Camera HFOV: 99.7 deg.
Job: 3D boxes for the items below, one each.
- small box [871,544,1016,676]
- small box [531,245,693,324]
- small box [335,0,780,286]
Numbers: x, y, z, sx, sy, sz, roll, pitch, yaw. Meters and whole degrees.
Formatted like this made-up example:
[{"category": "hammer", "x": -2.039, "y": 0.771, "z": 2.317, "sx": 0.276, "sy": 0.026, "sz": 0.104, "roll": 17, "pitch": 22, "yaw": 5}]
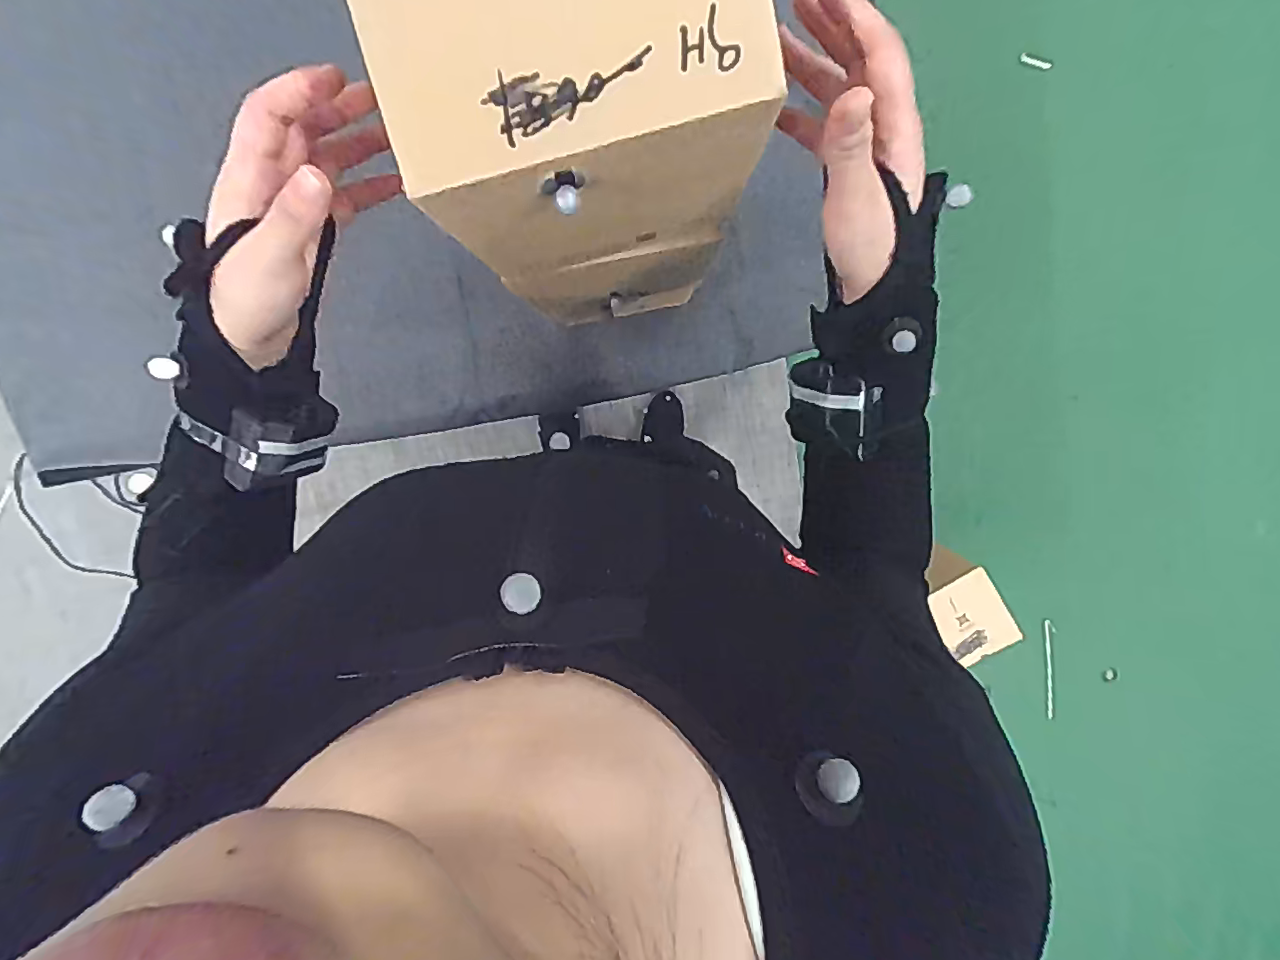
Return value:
[{"category": "small box", "x": 0.618, "y": 0.260, "z": 1.120, "sx": 0.168, "sy": 0.176, "sz": 0.179, "roll": -33, "pitch": 98, "yaw": 7}, {"category": "small box", "x": -0.038, "y": -0.280, "z": 0.610, "sx": 0.168, "sy": 0.176, "sz": 0.179, "roll": -10, "pitch": 99, "yaw": 2}, {"category": "small box", "x": -0.041, "y": -0.224, "z": 0.286, "sx": 0.168, "sy": 0.176, "sz": 0.179, "roll": -14, "pitch": 99, "yaw": 3}]
